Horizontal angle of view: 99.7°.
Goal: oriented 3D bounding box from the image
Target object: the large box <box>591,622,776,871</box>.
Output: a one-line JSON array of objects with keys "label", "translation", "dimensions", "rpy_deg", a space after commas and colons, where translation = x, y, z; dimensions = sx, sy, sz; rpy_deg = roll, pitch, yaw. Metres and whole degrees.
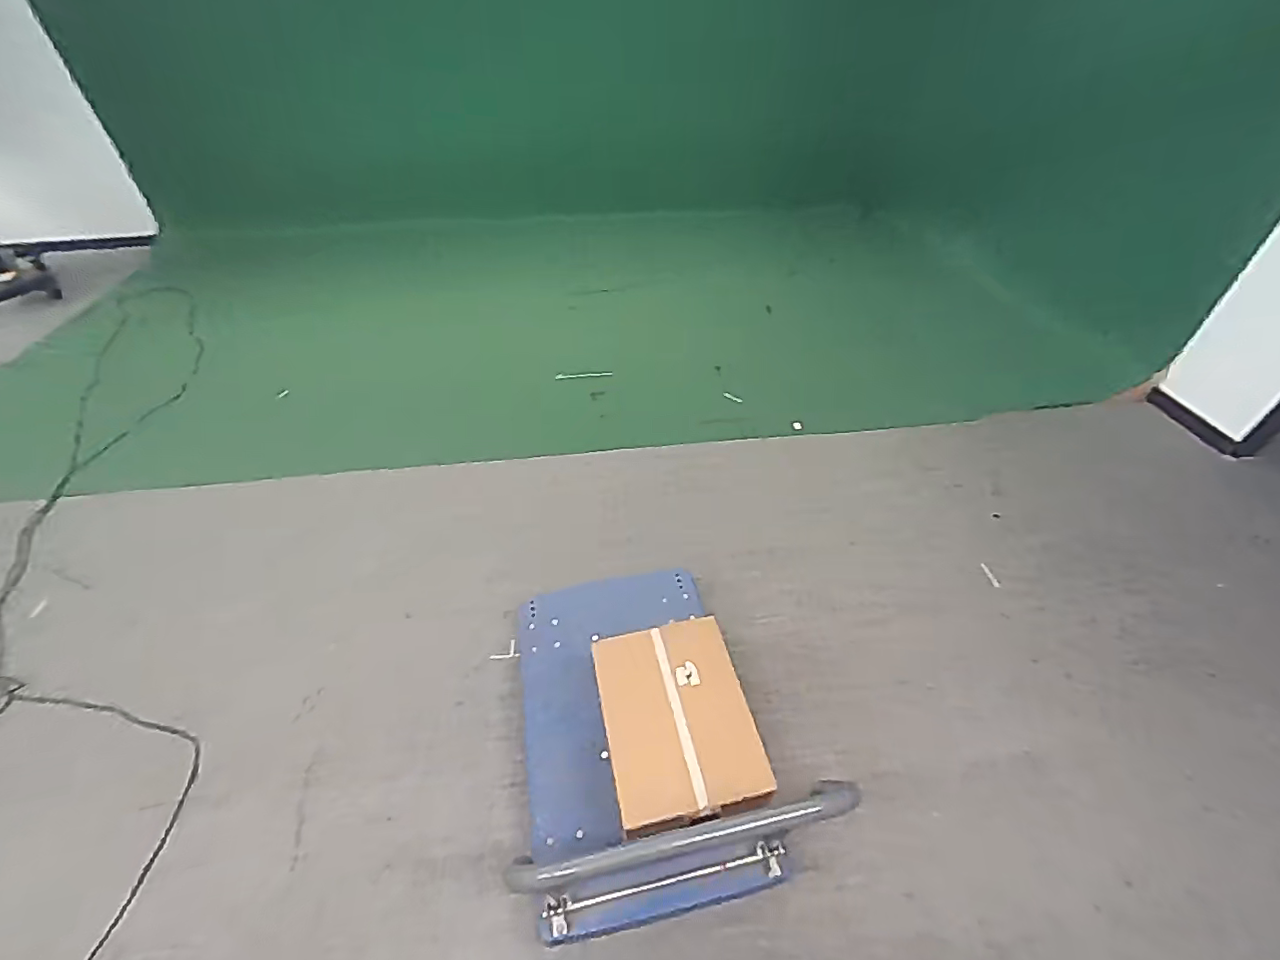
[{"label": "large box", "translation": [0.079, 0.616, 1.275], "dimensions": [0.320, 0.320, 0.408], "rpy_deg": [-9, 44, -9]}]
